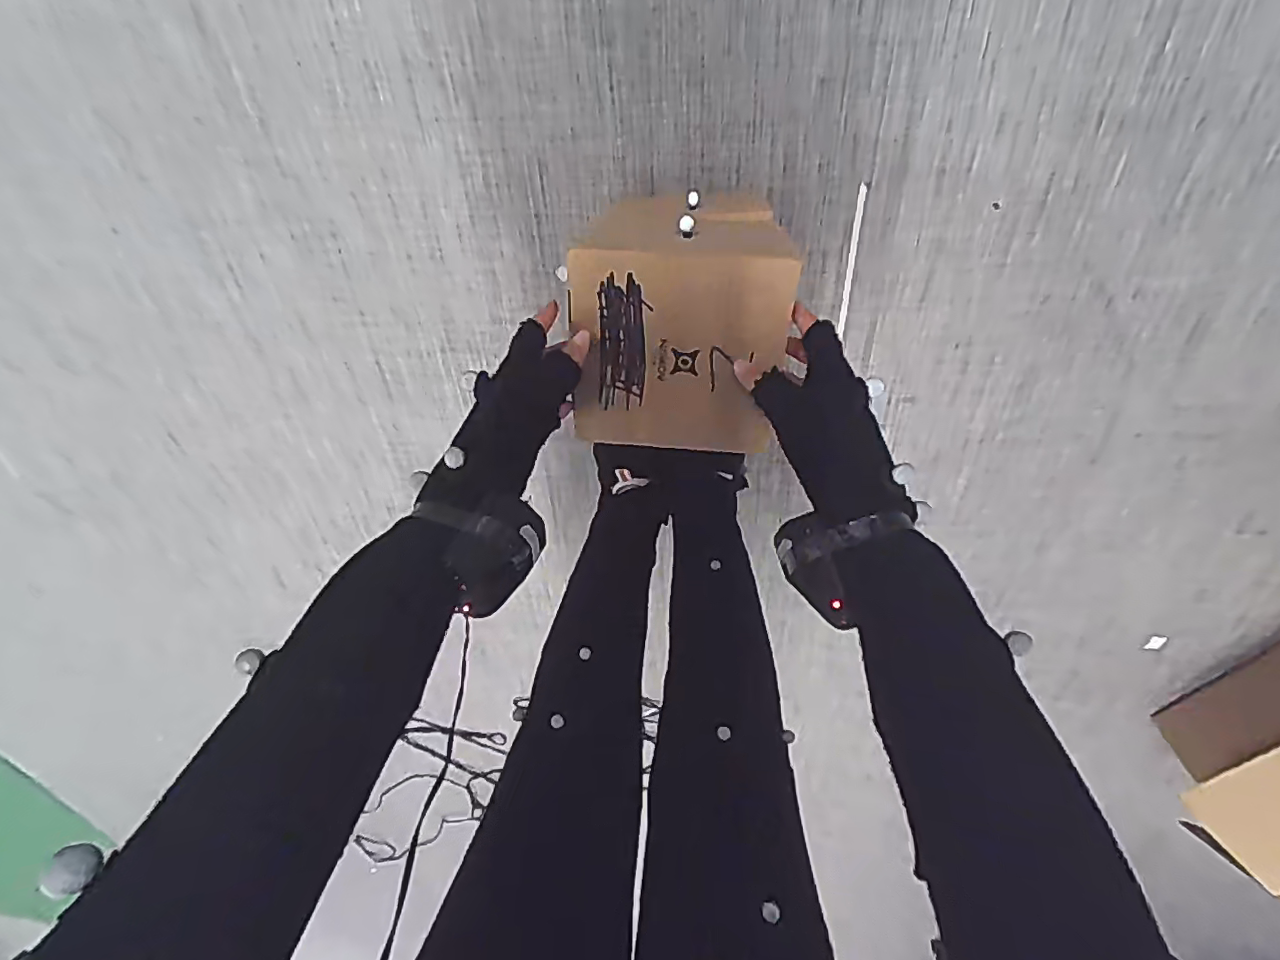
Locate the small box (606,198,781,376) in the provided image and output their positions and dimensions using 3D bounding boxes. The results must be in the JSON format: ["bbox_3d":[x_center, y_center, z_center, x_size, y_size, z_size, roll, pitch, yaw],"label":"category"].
[{"bbox_3d":[0.063,-0.233,0.643,0.179,0.176,0.168,1,123,7],"label":"small box"}]
